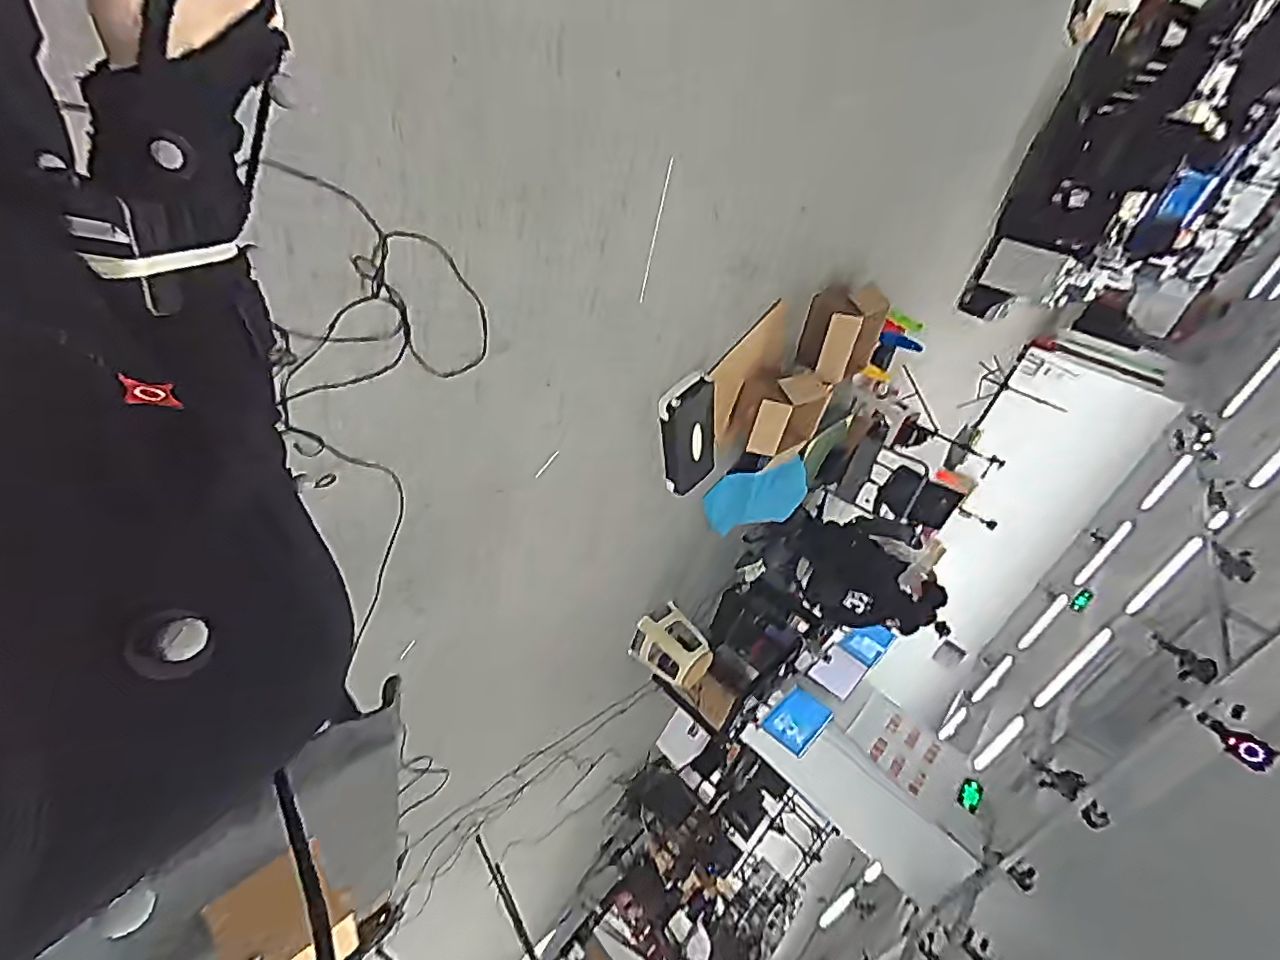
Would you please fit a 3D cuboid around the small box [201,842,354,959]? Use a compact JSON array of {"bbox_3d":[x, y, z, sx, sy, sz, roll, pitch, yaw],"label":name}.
[{"bbox_3d":[-0.637,0.800,0.961,0.179,0.176,0.168,-21,137,-43],"label":"small box"}]
